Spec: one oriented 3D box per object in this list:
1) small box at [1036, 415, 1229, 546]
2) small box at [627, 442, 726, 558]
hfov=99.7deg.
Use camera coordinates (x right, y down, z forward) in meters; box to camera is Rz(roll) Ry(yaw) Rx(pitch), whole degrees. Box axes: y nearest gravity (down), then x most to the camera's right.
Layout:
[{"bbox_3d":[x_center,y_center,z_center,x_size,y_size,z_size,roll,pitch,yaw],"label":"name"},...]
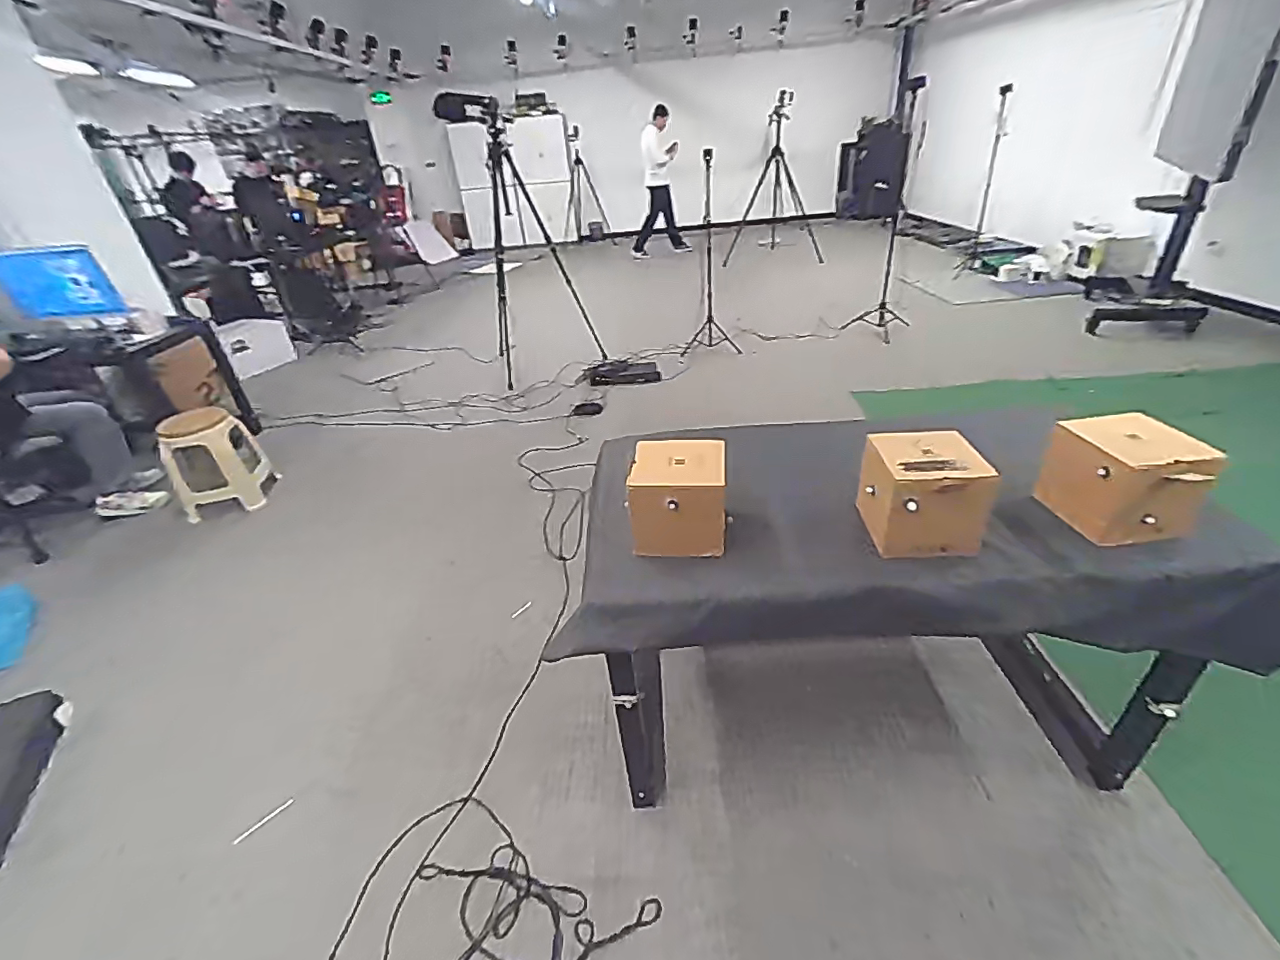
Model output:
[{"bbox_3d":[0.878,-0.001,0.989,0.168,0.176,0.179,-7,32,-1],"label":"small box"},{"bbox_3d":[0.078,0.037,1.053,0.179,0.176,0.168,1,33,8],"label":"small box"}]
